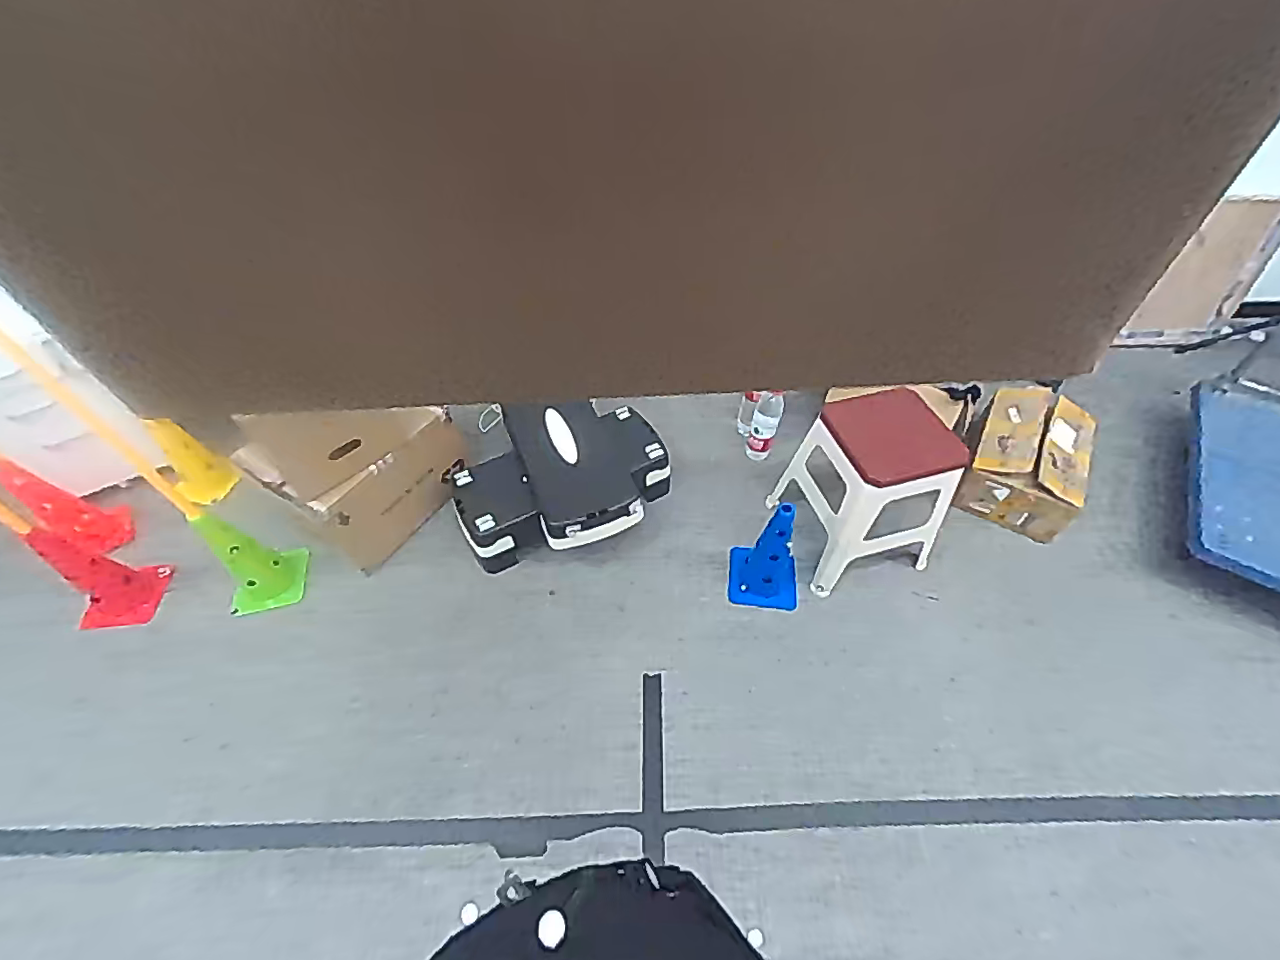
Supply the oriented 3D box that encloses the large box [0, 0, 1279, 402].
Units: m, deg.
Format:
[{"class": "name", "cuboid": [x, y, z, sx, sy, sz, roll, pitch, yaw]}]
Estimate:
[{"class": "large box", "cuboid": [-0.022, -0.251, 0.225, 0.408, 0.320, 0.320, -2, 51, 1]}]
